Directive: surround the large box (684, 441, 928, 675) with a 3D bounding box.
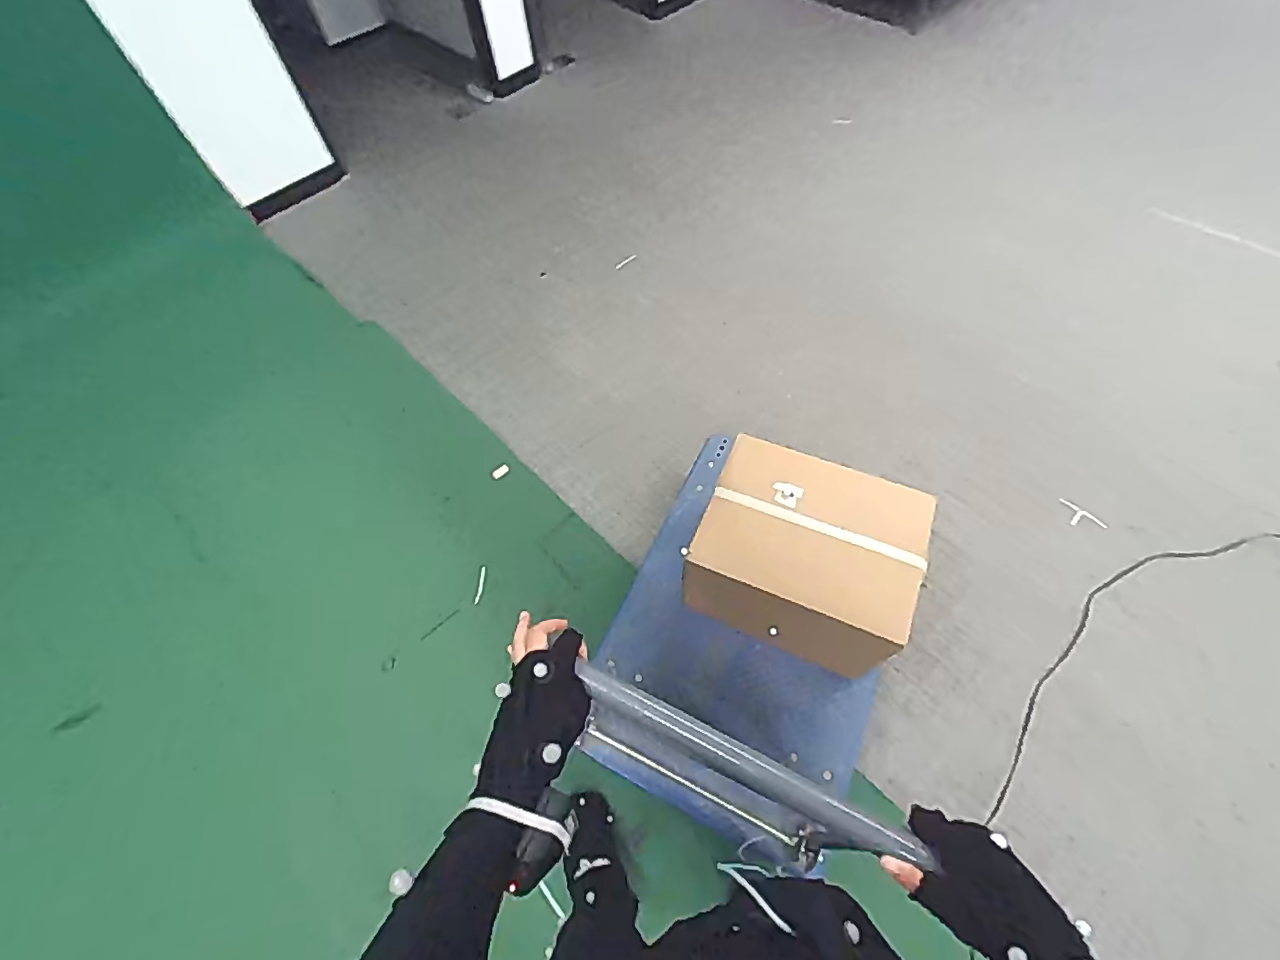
[{"bbox_3d":[0.335,0.173,1.164,0.408,0.320,0.320,20,62,15],"label":"large box"}]
